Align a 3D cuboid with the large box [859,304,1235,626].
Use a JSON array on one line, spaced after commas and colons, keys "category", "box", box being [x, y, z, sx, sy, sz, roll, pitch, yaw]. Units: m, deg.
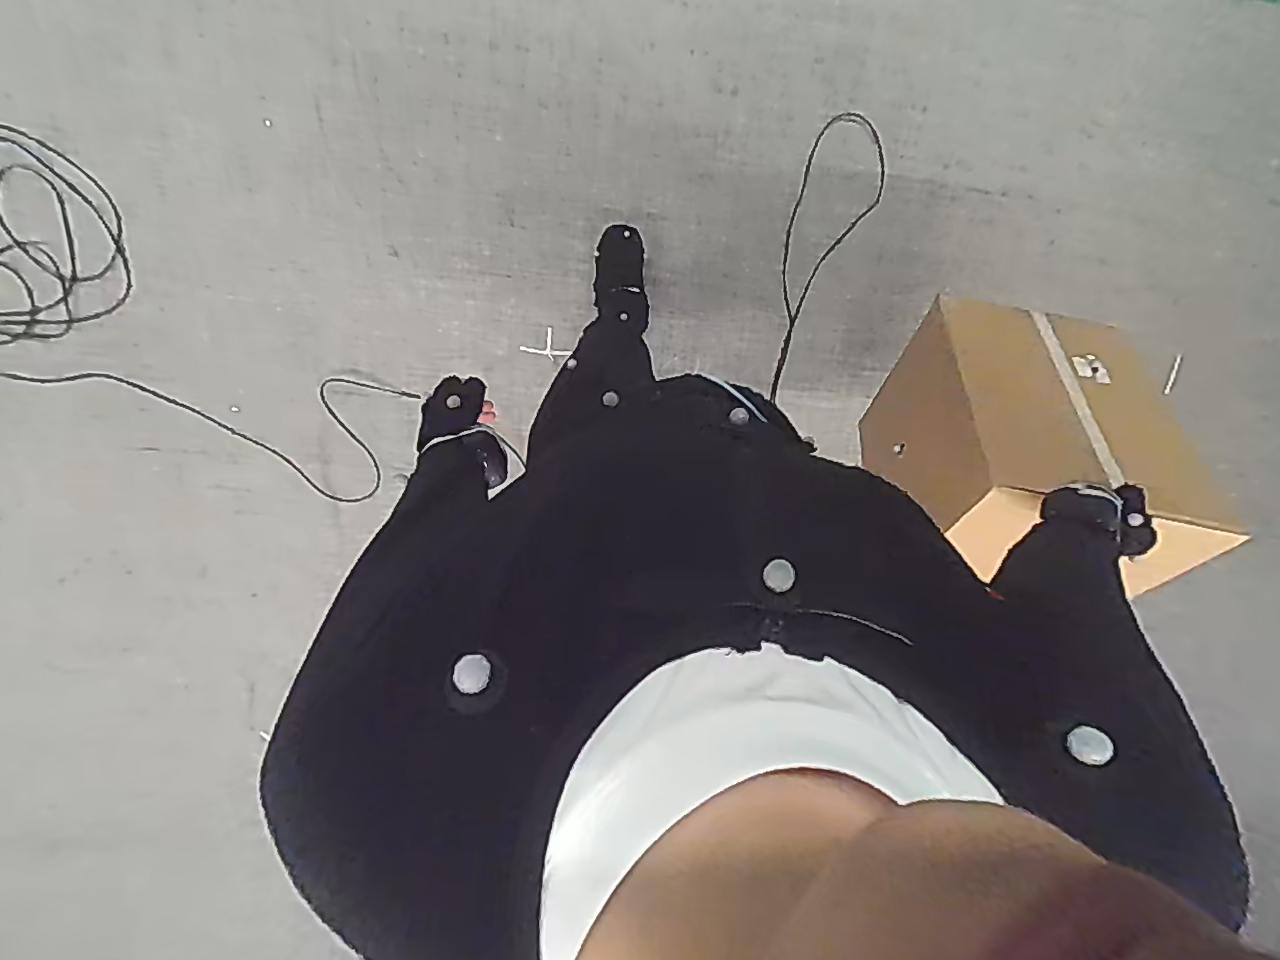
[{"category": "large box", "box": [0.588, -0.024, 0.893, 0.320, 0.408, 0.320, 12, 141, 1]}]
